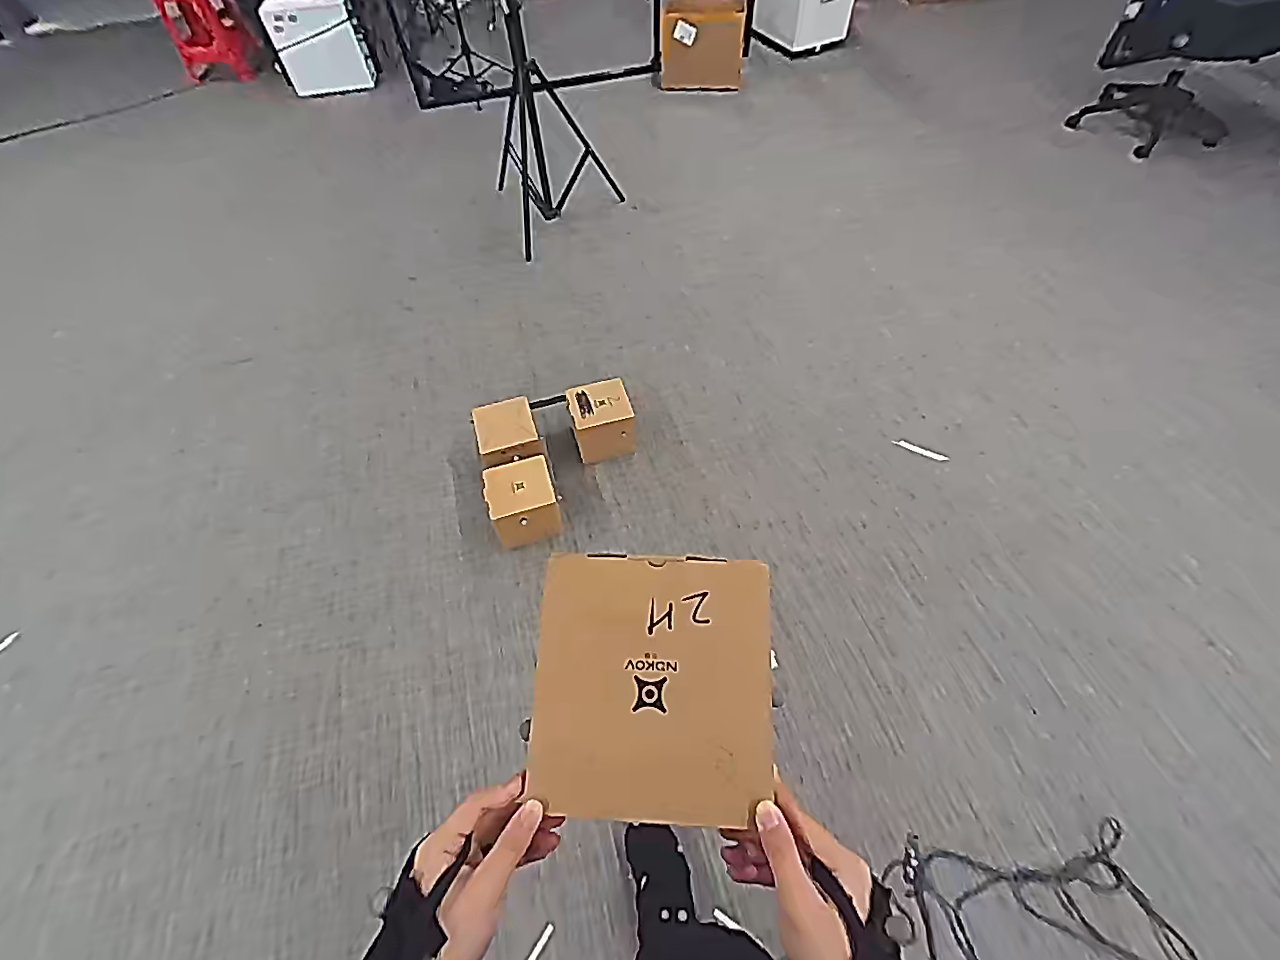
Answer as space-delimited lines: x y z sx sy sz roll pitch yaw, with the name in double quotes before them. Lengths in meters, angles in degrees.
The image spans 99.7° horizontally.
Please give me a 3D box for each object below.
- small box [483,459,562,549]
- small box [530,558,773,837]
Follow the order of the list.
"small box" -0.322 0.070 1.507 0.179 0.176 0.168 -16 57 -8
"small box" 0.016 0.168 0.455 0.168 0.176 0.179 2 72 4
